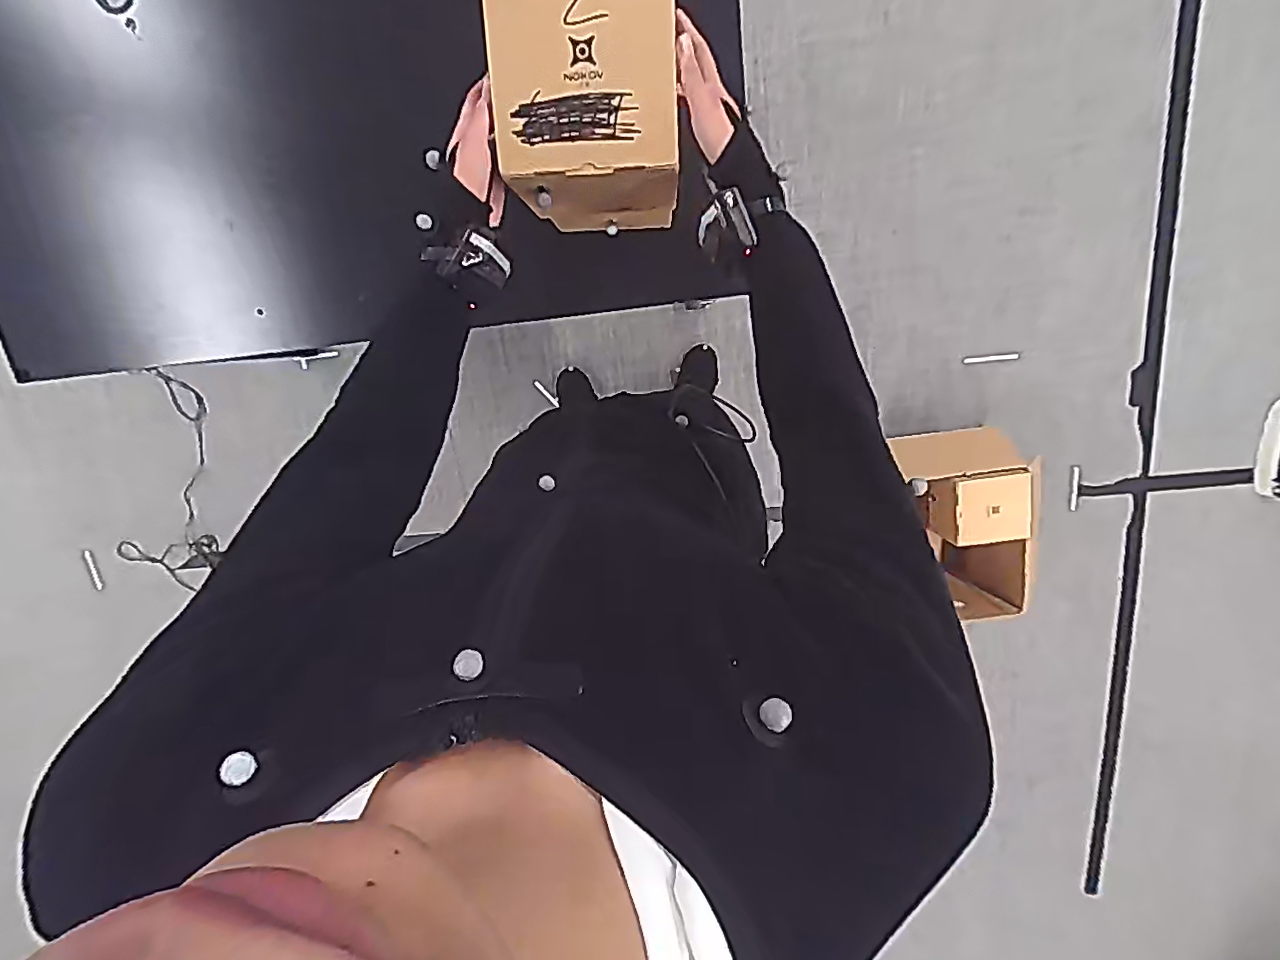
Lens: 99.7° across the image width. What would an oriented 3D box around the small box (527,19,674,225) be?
[{"bbox_3d":[-0.041,-0.440,0.692,0.168,0.176,0.179,-1,105,3],"label":"small box"}]
